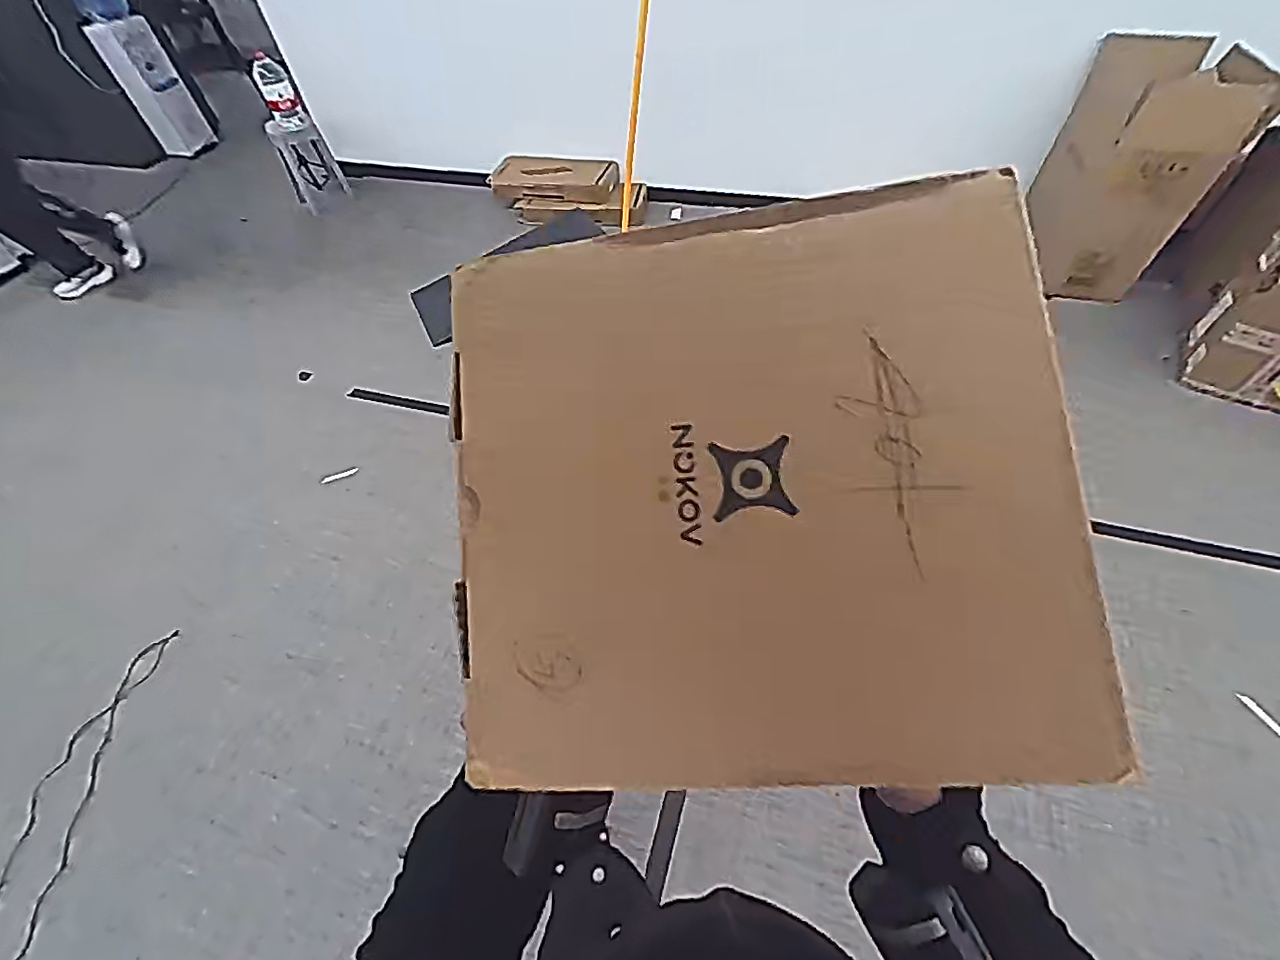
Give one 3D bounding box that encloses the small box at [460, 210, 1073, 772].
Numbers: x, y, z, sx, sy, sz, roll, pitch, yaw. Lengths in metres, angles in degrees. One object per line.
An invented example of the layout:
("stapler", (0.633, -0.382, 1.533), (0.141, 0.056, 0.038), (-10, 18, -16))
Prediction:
("small box", (0.039, 0.015, 0.248), (0.179, 0.176, 0.168), (-6, 82, 9))
